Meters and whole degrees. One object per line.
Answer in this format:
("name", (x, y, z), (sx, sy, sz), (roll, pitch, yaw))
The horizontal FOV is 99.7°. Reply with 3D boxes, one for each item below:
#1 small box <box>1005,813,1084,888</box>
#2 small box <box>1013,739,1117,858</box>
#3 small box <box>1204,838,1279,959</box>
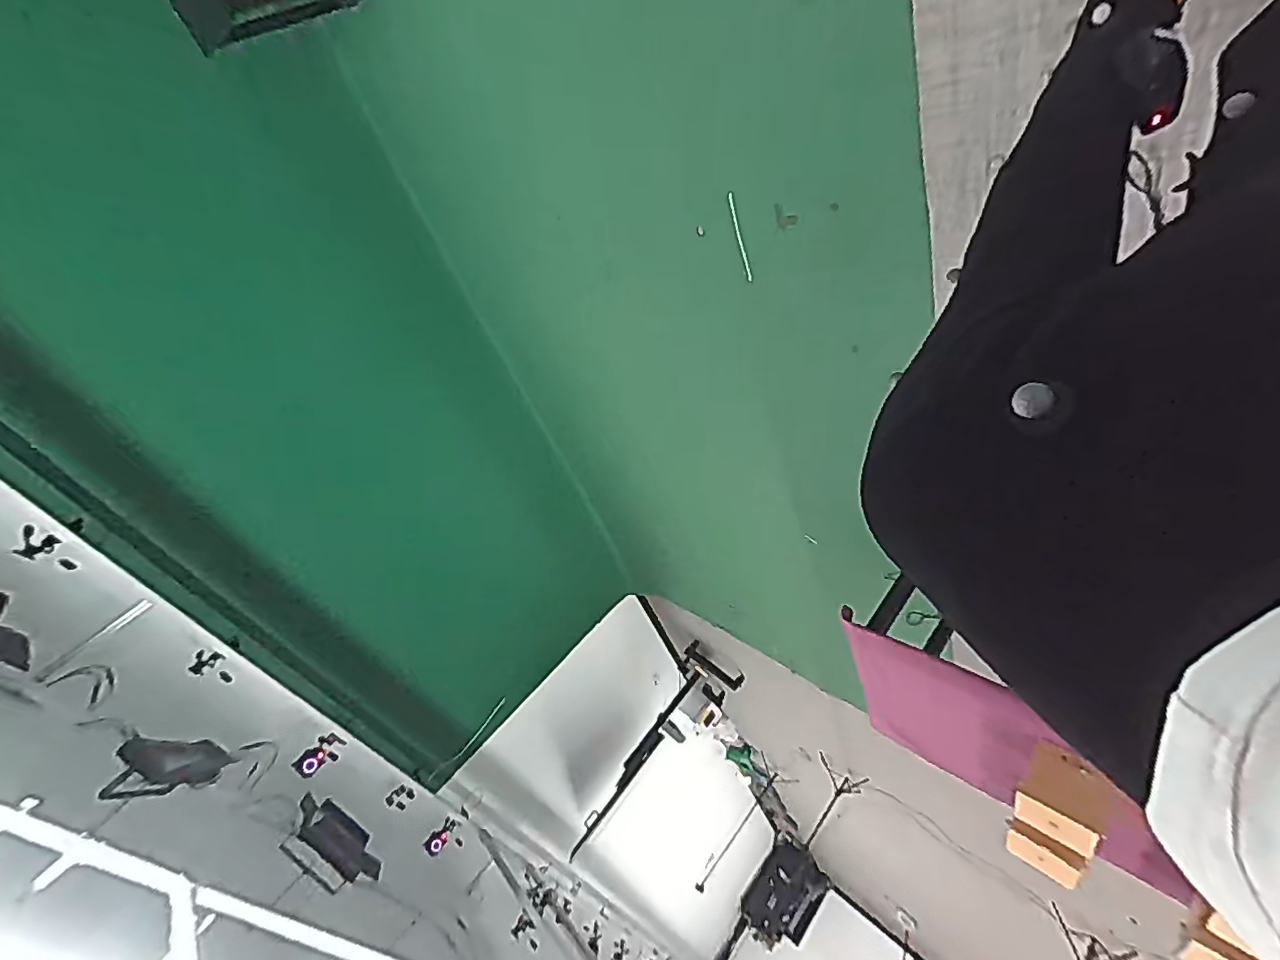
("small box", (1.177, 1.009, 1.549), (0.168, 0.176, 0.179), (21, 145, 45))
("small box", (1.086, 0.808, 1.384), (0.168, 0.176, 0.179), (20, 145, 45))
("small box", (1.320, 0.892, 1.120), (0.168, 0.176, 0.179), (19, 146, 48))
